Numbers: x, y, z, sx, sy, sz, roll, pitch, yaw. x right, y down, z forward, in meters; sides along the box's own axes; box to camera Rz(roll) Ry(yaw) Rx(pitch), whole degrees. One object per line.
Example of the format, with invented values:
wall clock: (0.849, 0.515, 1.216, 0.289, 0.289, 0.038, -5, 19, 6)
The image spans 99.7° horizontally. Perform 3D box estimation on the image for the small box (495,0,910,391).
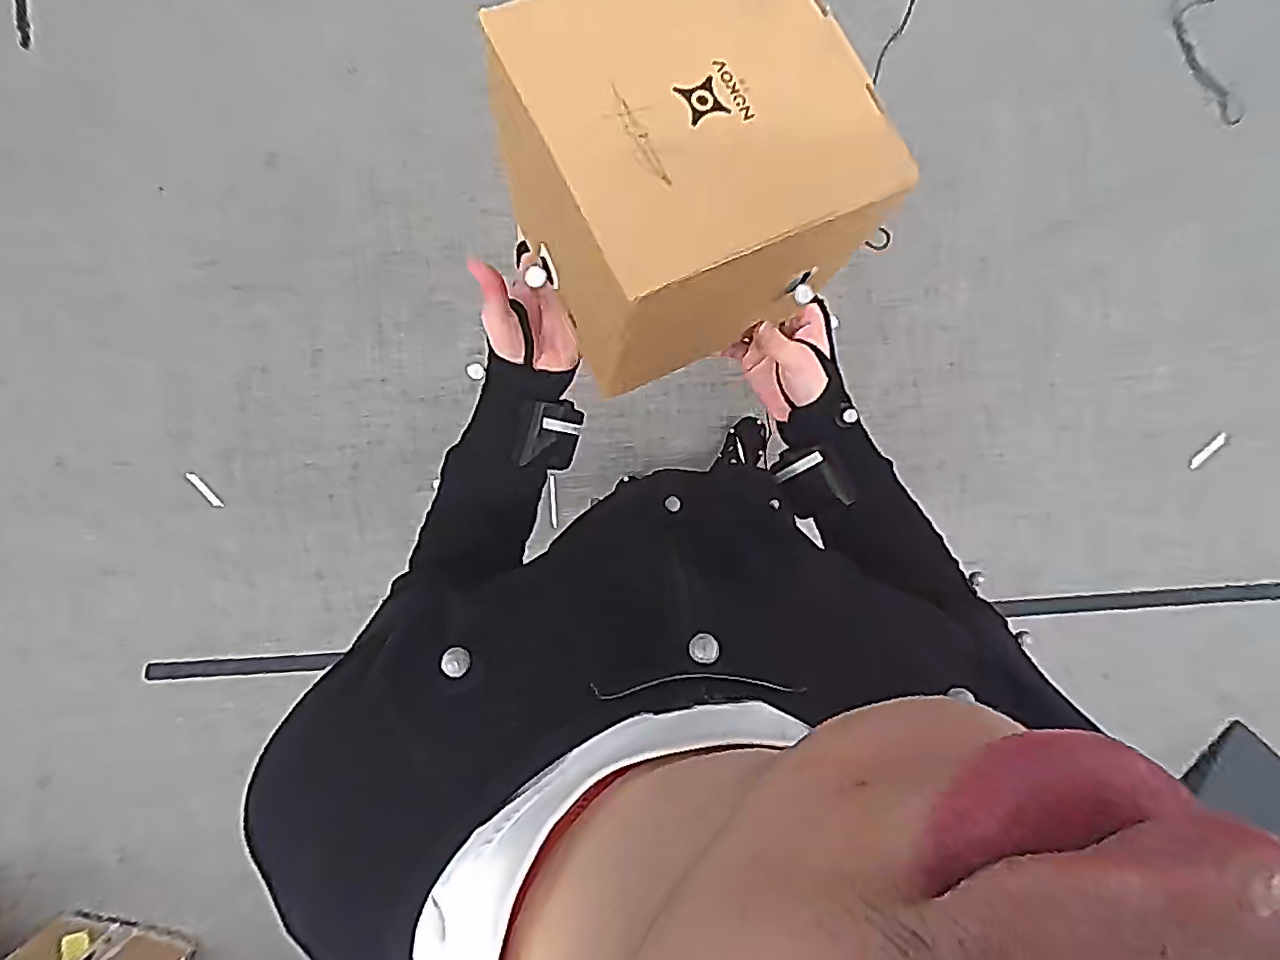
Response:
small box: (0.027, -0.185, 0.362, 0.179, 0.176, 0.168, -28, 85, -10)
